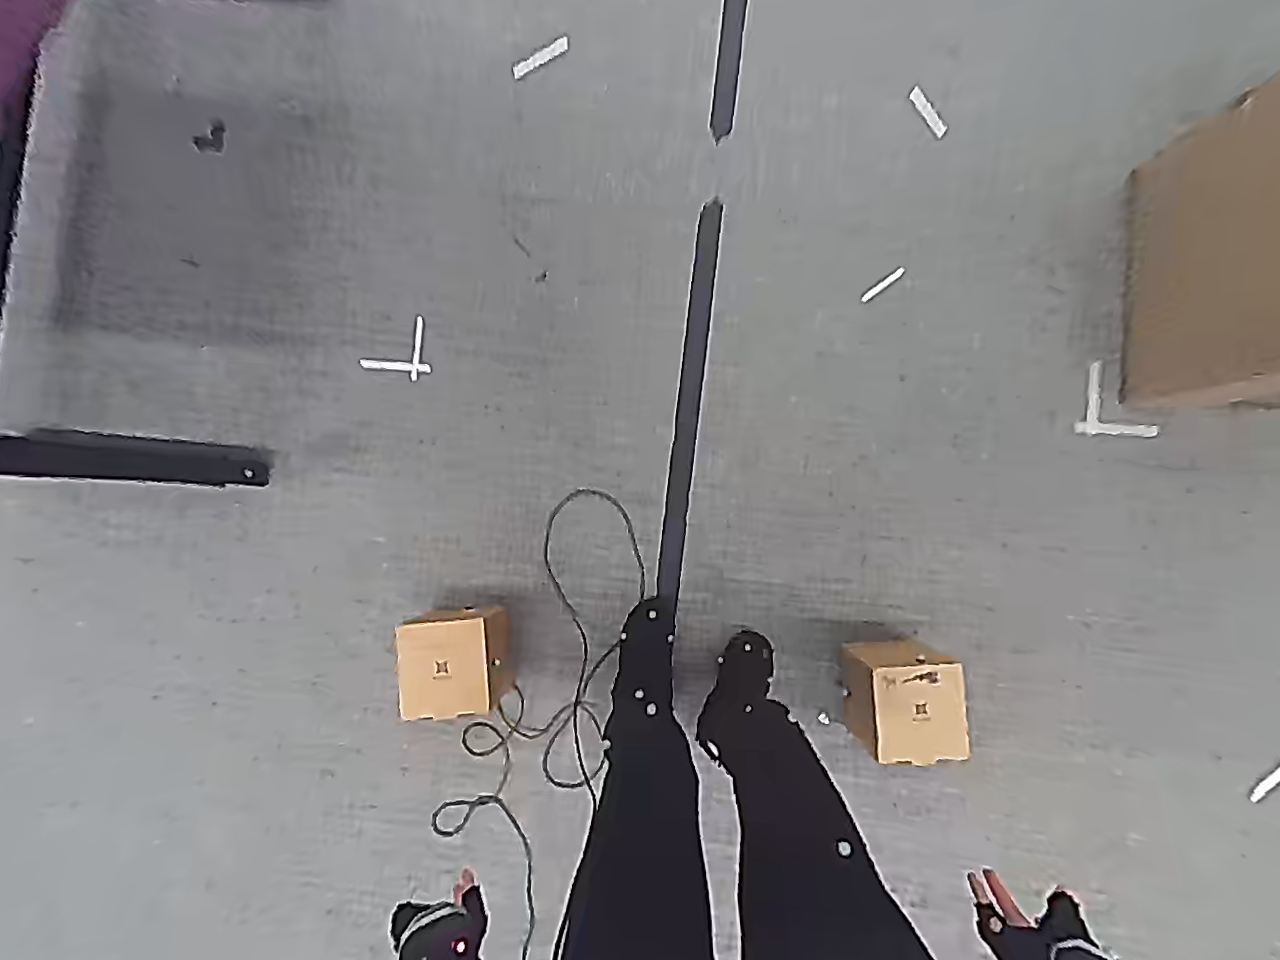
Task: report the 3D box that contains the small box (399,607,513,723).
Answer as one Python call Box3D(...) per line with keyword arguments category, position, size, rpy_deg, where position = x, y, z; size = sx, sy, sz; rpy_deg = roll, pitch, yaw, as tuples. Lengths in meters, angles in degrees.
Box3D(category="small box", position=(-0.357, 0.360, 1.078), size=(0.168, 0.176, 0.179), rpy_deg=(-6, 85, 0))

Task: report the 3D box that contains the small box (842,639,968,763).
Box3D(category="small box", position=(0.509, 0.424, 1.059), size=(0.168, 0.176, 0.179), rpy_deg=(-4, 88, 1))
